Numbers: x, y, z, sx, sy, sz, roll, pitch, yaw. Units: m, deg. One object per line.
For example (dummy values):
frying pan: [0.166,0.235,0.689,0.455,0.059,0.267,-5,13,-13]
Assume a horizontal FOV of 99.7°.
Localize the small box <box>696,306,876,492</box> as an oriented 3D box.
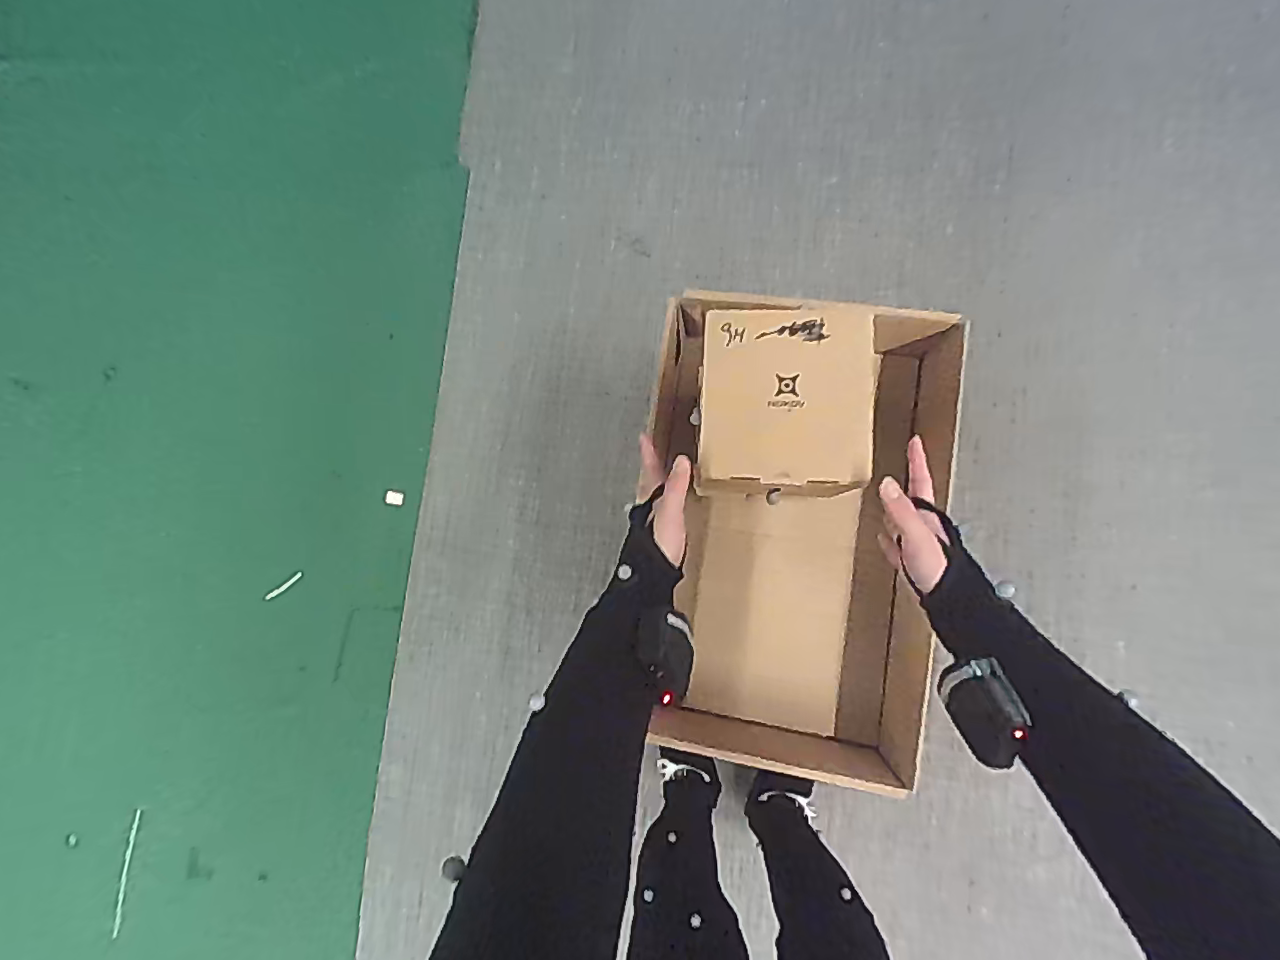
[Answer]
small box: [0.152,-0.079,0.602,0.168,0.176,0.179,2,86,8]
